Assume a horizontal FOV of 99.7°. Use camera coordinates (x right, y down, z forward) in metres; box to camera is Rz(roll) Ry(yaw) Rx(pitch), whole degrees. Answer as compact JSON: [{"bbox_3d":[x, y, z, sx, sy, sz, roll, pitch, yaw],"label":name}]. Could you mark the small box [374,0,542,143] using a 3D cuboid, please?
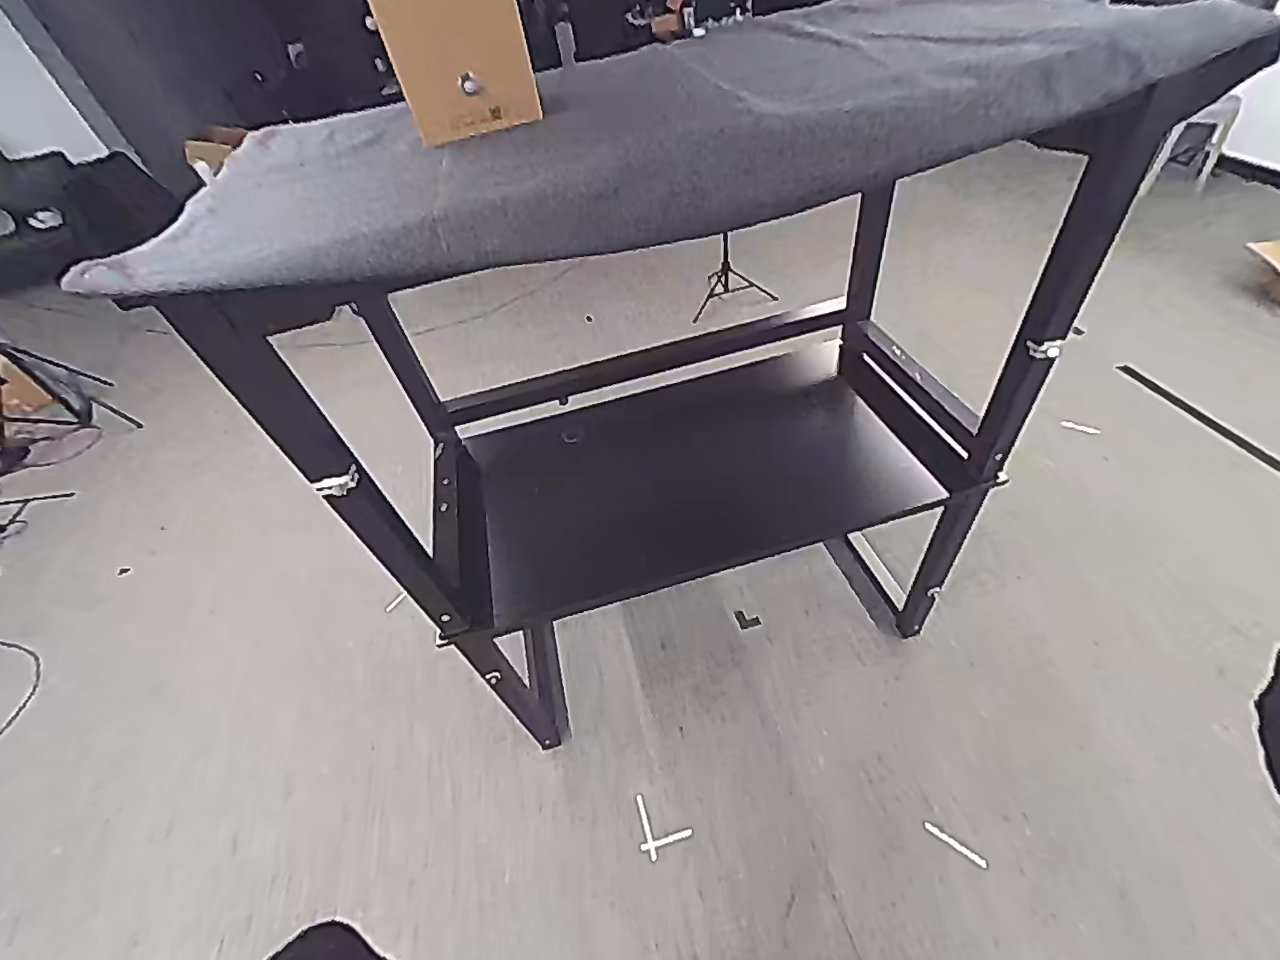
[{"bbox_3d":[-0.244,-0.579,0.731,0.168,0.176,0.179,-19,47,-7],"label":"small box"}]
